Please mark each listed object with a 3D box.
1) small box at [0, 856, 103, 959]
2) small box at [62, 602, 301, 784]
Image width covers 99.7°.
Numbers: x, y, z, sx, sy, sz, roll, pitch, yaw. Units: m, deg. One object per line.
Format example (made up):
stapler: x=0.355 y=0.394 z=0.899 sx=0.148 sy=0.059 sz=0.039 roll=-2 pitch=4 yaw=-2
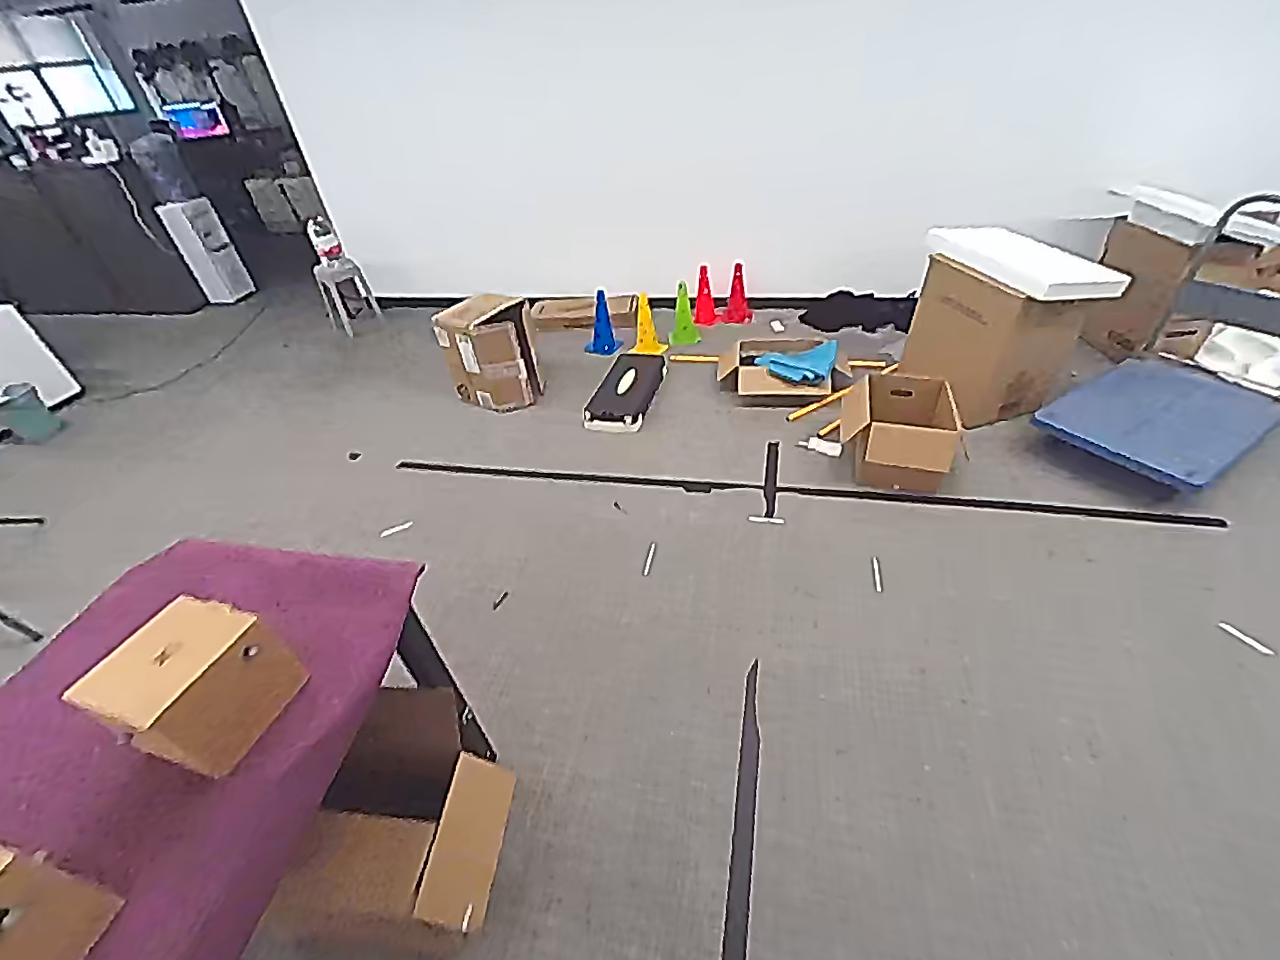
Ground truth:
small box: x=-0.732 y=0.511 z=0.562 sx=0.168 sy=0.176 sz=0.179 roll=1 pitch=39 yaw=12
small box: x=-0.654 y=0.314 z=0.799 sx=0.168 sy=0.176 sz=0.179 roll=7 pitch=40 yaw=16
